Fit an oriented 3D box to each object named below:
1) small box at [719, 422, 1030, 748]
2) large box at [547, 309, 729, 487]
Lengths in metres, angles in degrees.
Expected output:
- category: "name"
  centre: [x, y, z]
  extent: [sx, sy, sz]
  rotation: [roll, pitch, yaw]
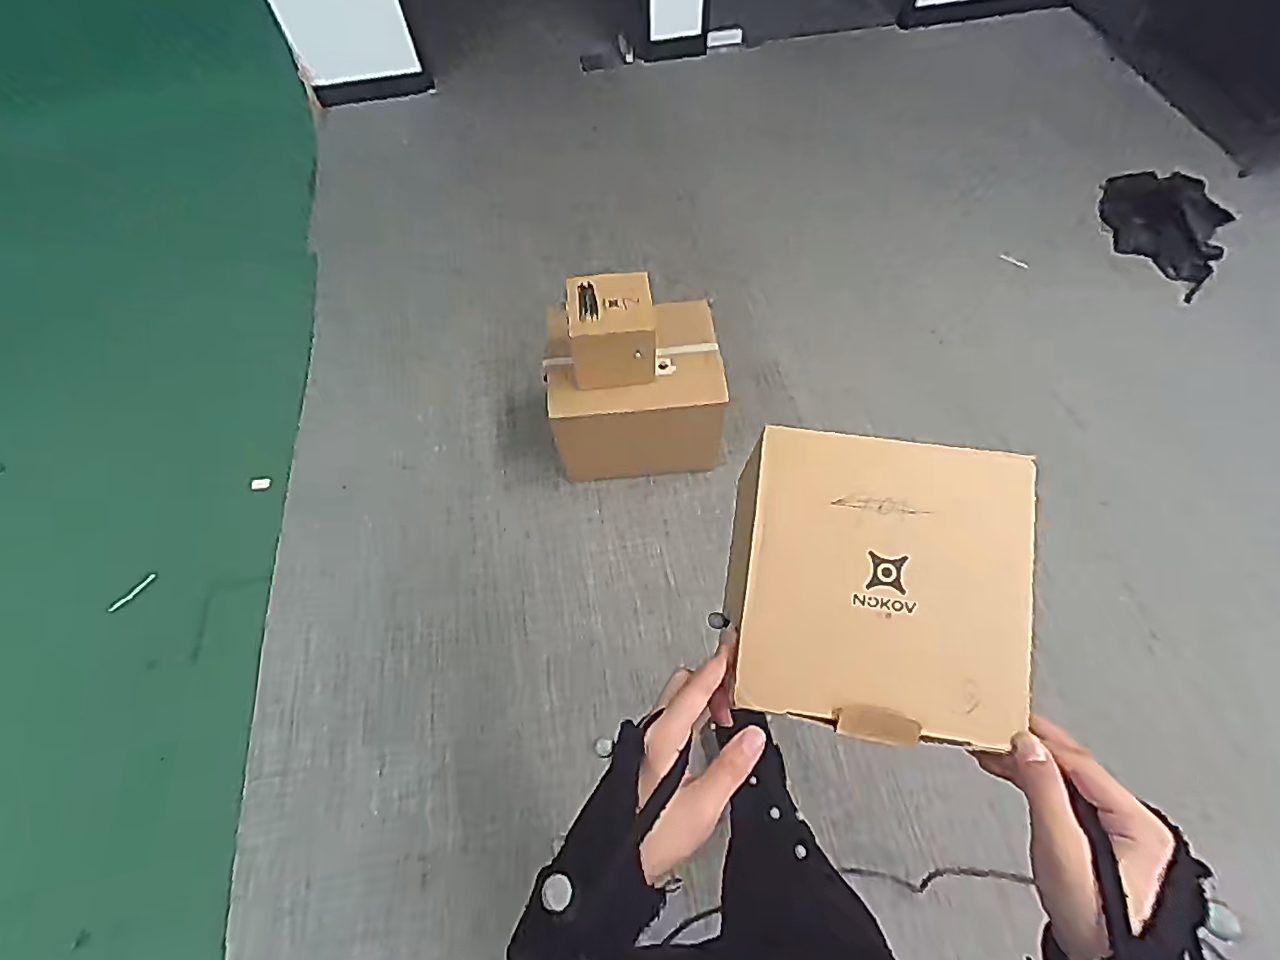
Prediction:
- category: "small box"
  centre: [0.152, 0.072, 0.403]
  extent: [0.168, 0.176, 0.179]
  rotation: [7, 79, 5]
- category: "large box"
  centre: [-0.014, -0.201, 1.389]
  extent: [0.408, 0.320, 0.320]
  rotation: [-5, 63, -2]
